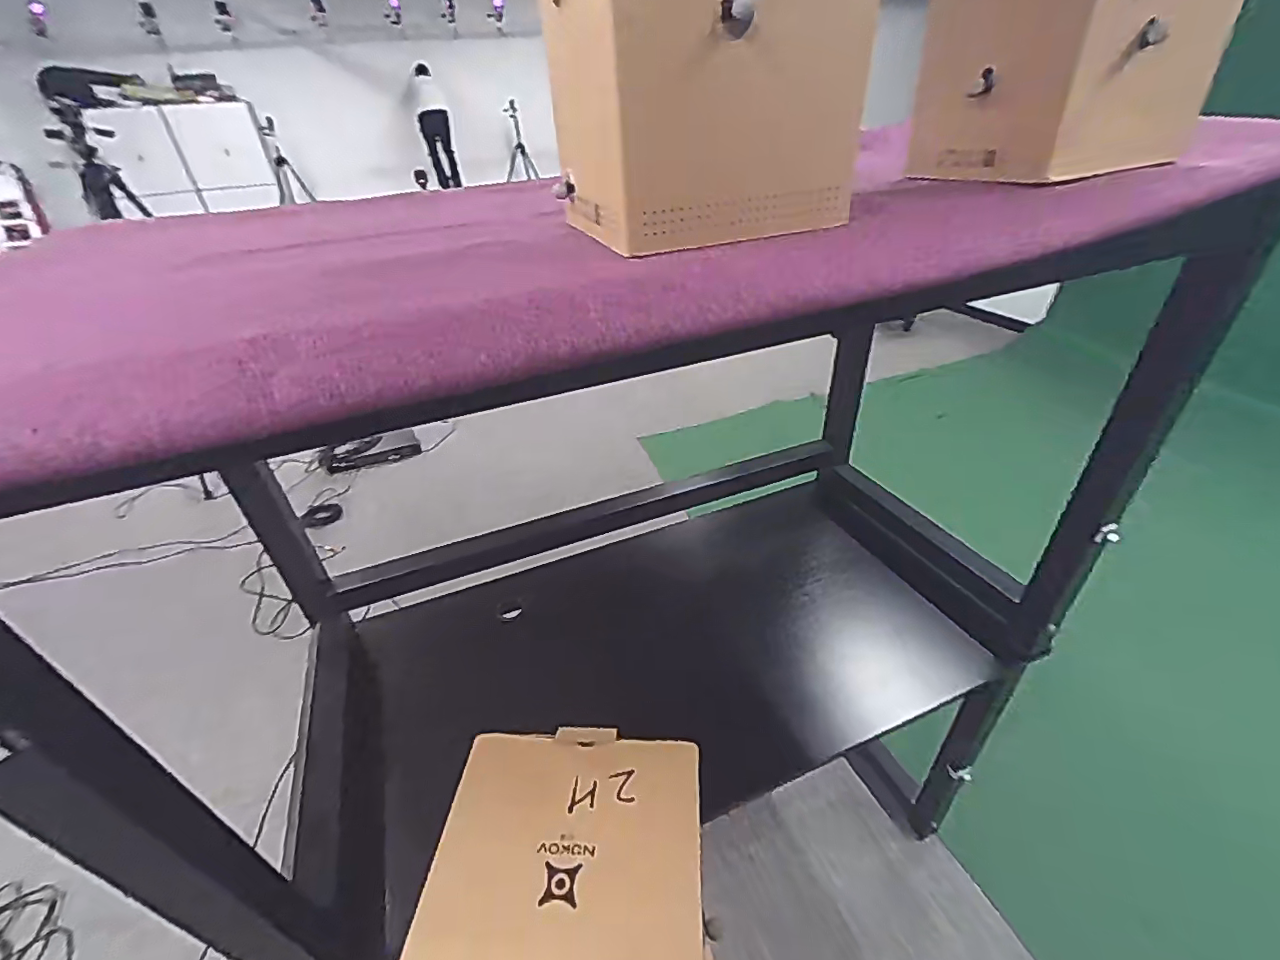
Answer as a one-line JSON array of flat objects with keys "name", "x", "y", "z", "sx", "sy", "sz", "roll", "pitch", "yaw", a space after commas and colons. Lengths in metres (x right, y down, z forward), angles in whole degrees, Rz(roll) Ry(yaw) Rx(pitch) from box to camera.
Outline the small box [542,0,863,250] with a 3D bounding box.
[{"name": "small box", "x": 0.040, "y": -0.276, "z": 0.395, "sx": 0.179, "sy": 0.176, "sz": 0.168, "roll": -14, "pitch": 37, "yaw": -15}]

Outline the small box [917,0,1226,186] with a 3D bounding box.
[{"name": "small box", "x": 0.388, "y": -0.382, "z": 0.505, "sx": 0.179, "sy": 0.176, "sz": 0.168, "roll": -17, "pitch": 35, "yaw": -14}]
